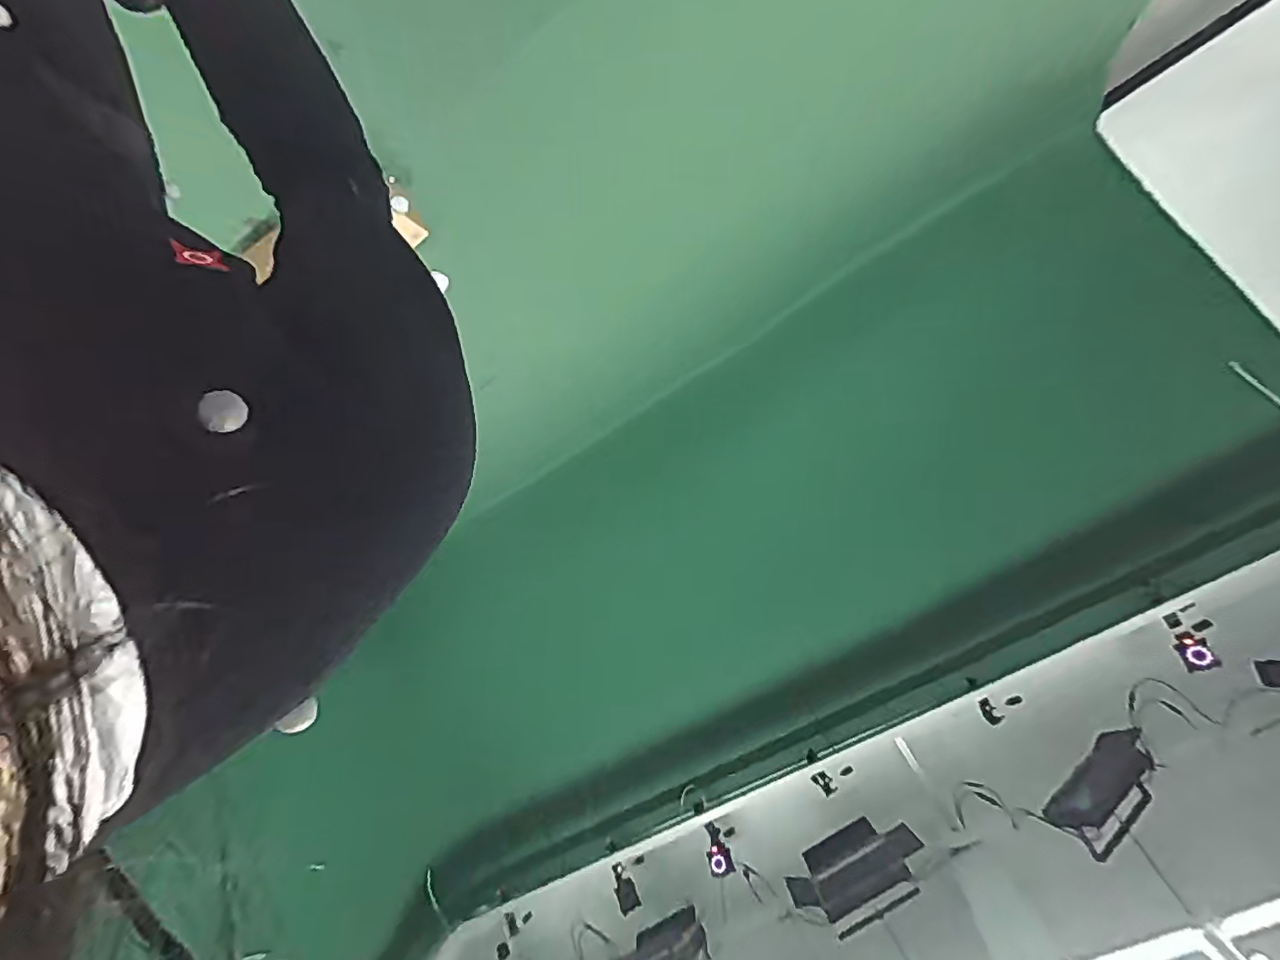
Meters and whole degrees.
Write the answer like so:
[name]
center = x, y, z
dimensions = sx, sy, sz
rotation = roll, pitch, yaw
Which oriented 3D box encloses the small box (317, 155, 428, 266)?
[small box]
center = -0.707, -0.712, 1.426
dimensions = 0.168, 0.176, 0.179
rotation = -32, 166, 13
